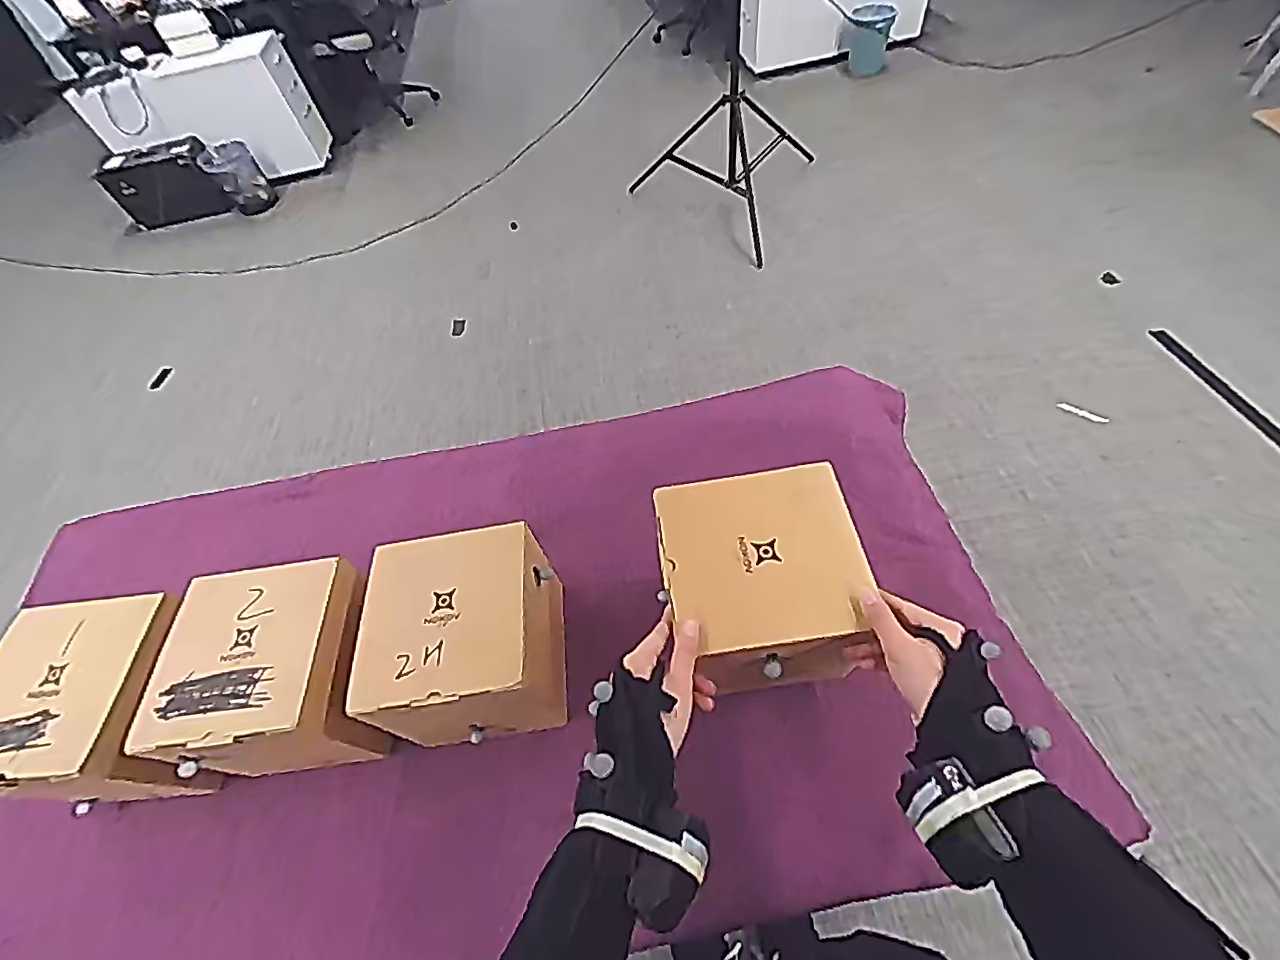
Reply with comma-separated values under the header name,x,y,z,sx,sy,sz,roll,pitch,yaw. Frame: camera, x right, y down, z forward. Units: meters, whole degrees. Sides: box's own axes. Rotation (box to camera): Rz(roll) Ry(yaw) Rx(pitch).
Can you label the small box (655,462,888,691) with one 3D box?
name,x,y,z,sx,sy,sz,roll,pitch,yaw
small box,0.116,0.104,0.547,0.179,0.176,0.168,-9,57,2
